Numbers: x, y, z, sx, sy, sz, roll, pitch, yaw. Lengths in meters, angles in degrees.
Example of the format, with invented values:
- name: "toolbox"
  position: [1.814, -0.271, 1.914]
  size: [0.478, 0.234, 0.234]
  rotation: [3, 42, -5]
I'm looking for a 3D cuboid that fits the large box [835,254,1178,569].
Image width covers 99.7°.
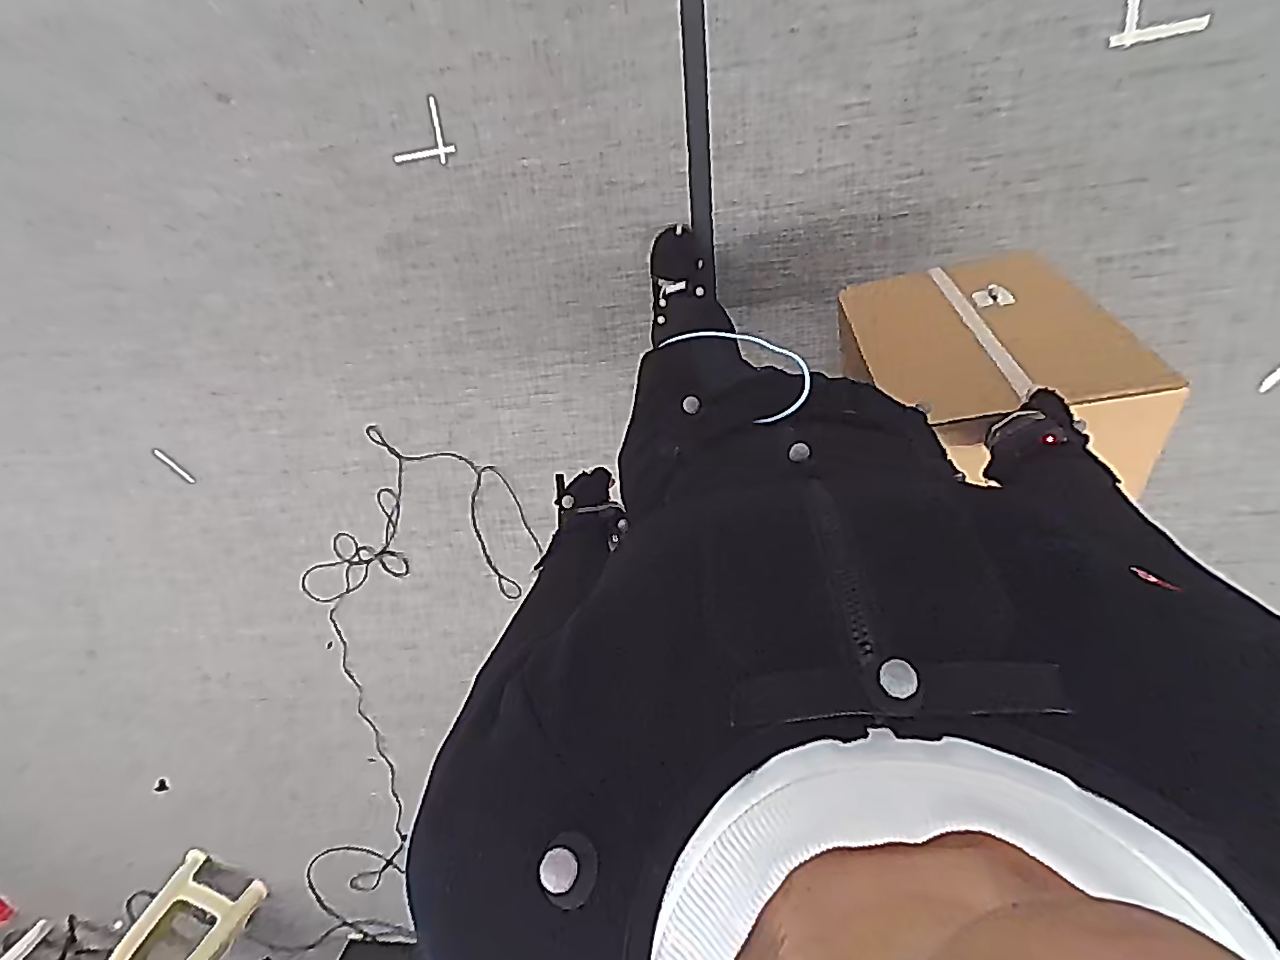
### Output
- name: "large box"
  position: [0.527, -0.115, 0.892]
  size: [0.320, 0.408, 0.320]
  rotation: [-8, 132, 13]
